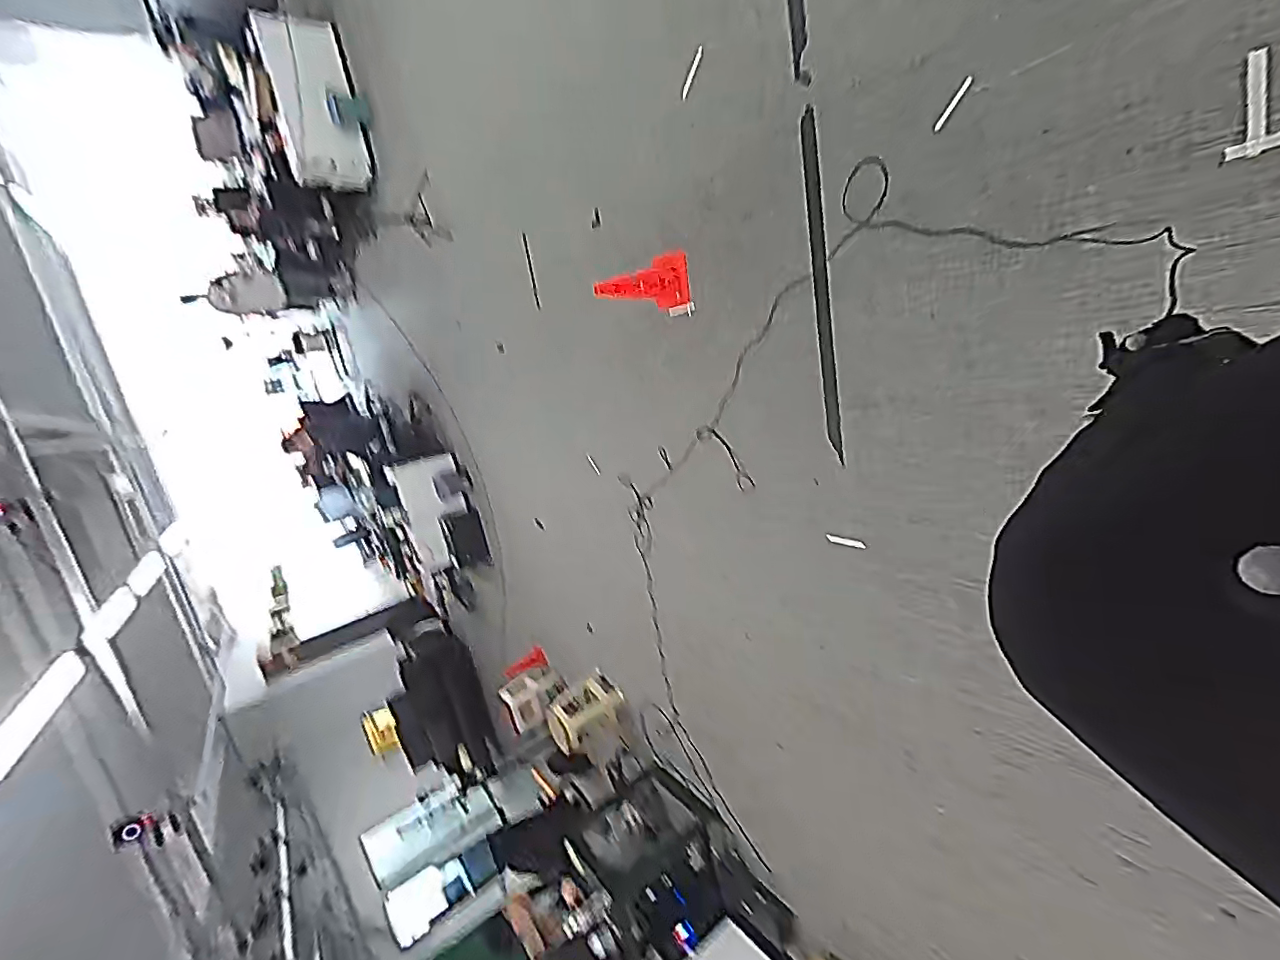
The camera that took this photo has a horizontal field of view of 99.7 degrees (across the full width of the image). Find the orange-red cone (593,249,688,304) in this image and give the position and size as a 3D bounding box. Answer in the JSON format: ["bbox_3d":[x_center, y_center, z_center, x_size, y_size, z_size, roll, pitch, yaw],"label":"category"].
[{"bbox_3d":[-0.017,-0.747,2.026,0.198,0.360,0.199,19,121,50],"label":"orange-red cone"}]
